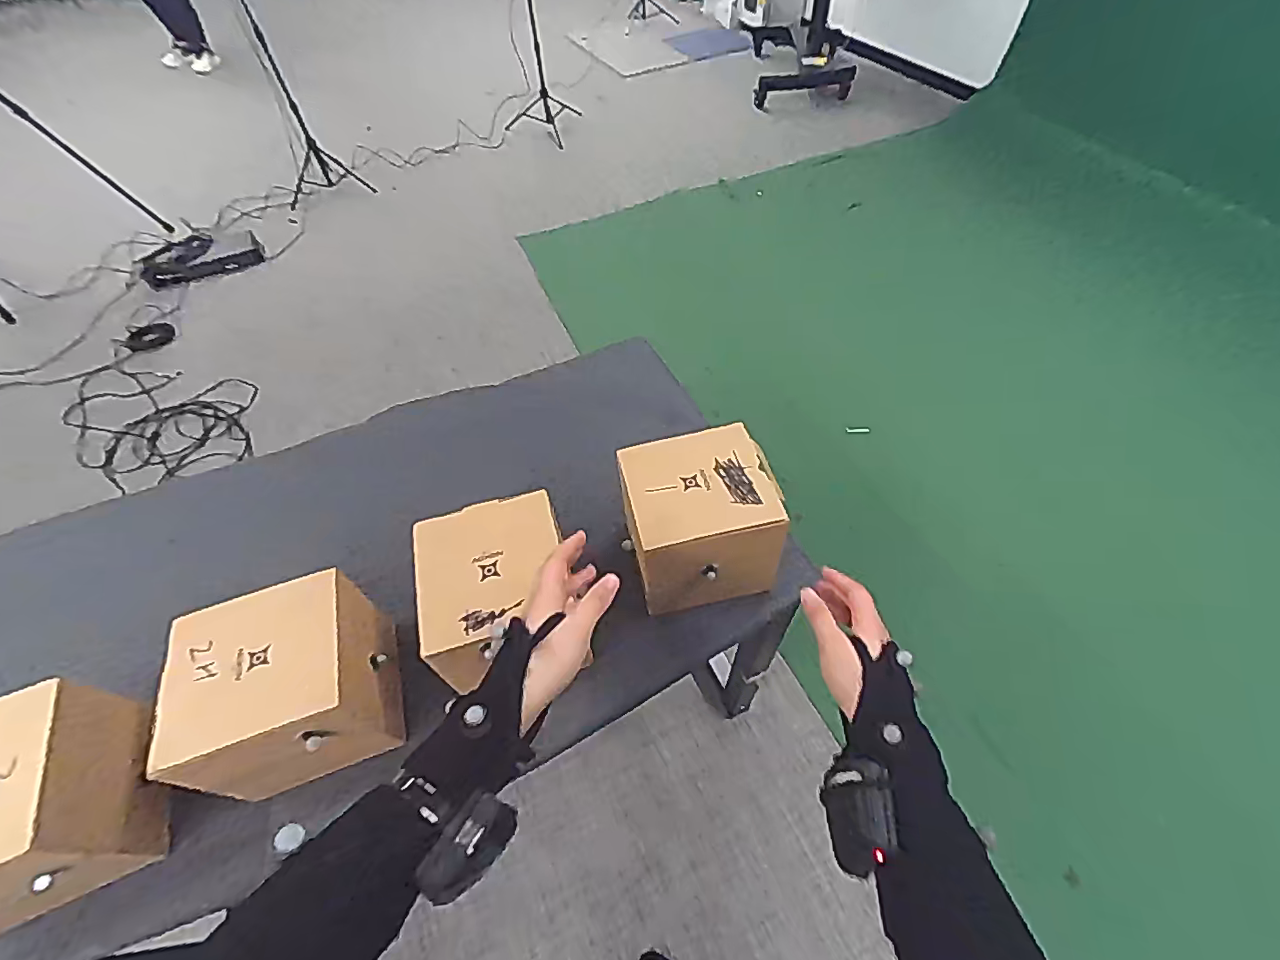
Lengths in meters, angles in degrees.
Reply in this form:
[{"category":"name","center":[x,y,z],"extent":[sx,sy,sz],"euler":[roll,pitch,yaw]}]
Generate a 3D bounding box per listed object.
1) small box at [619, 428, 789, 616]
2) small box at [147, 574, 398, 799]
[{"category":"small box","center":[0.077,0.059,0.721],"extent":[0.179,0.176,0.168],"euler":[-12,50,-4]},{"category":"small box","center":[-0.394,0.239,0.619],"extent":[0.179,0.176,0.168],"euler":[-18,53,-9]}]
